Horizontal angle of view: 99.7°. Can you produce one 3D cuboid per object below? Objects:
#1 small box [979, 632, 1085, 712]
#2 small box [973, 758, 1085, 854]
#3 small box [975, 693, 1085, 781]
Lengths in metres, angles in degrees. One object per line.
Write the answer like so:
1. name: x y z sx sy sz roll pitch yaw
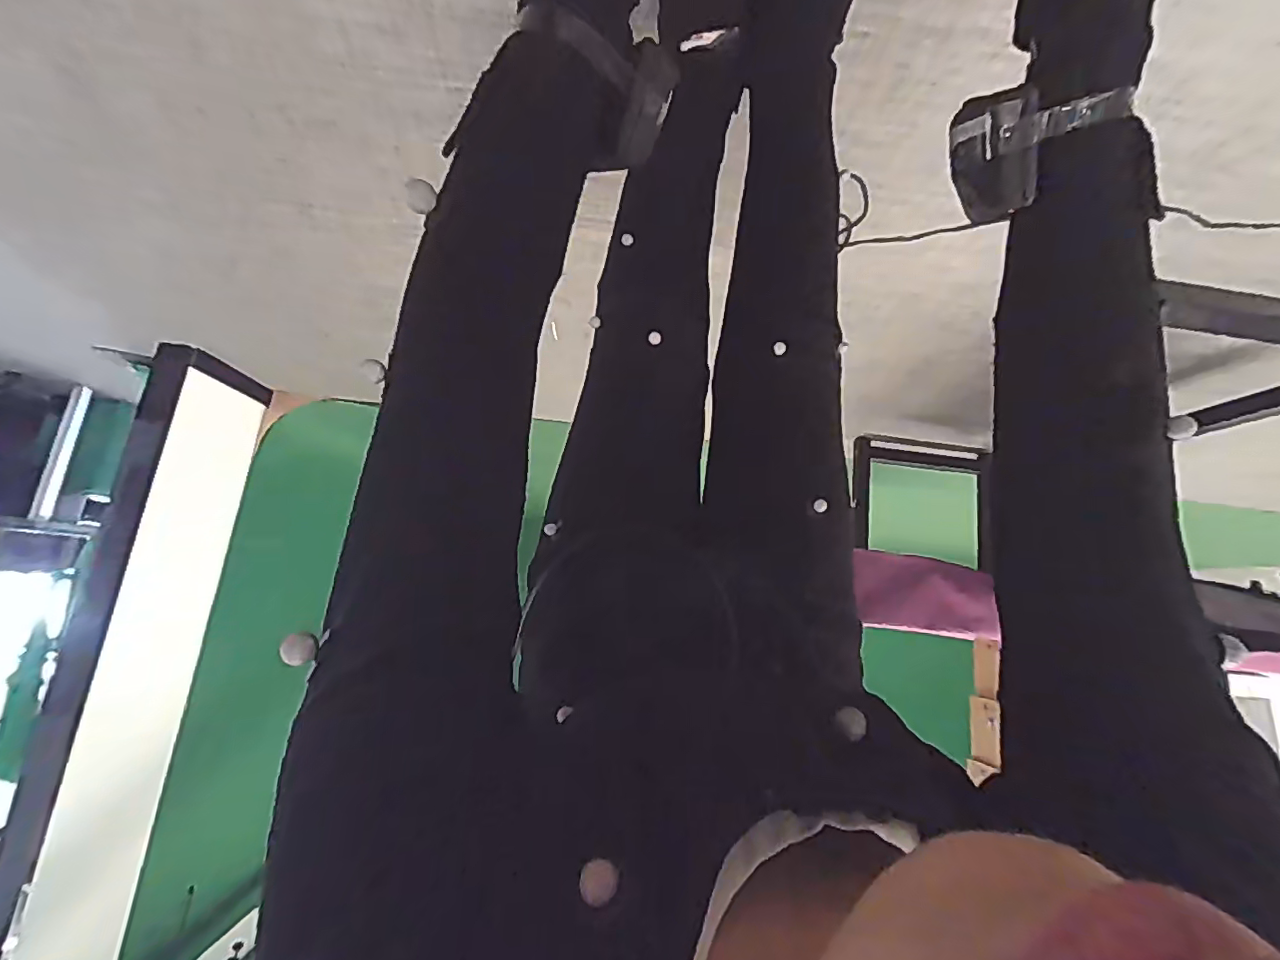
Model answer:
1. small box: 1.057 0.515 1.466 0.179 0.176 0.168 9 167 -6
2. small box: 0.992 0.829 1.394 0.179 0.176 0.168 8 167 -5
3. small box: 1.022 0.671 1.426 0.179 0.176 0.168 8 167 -5
